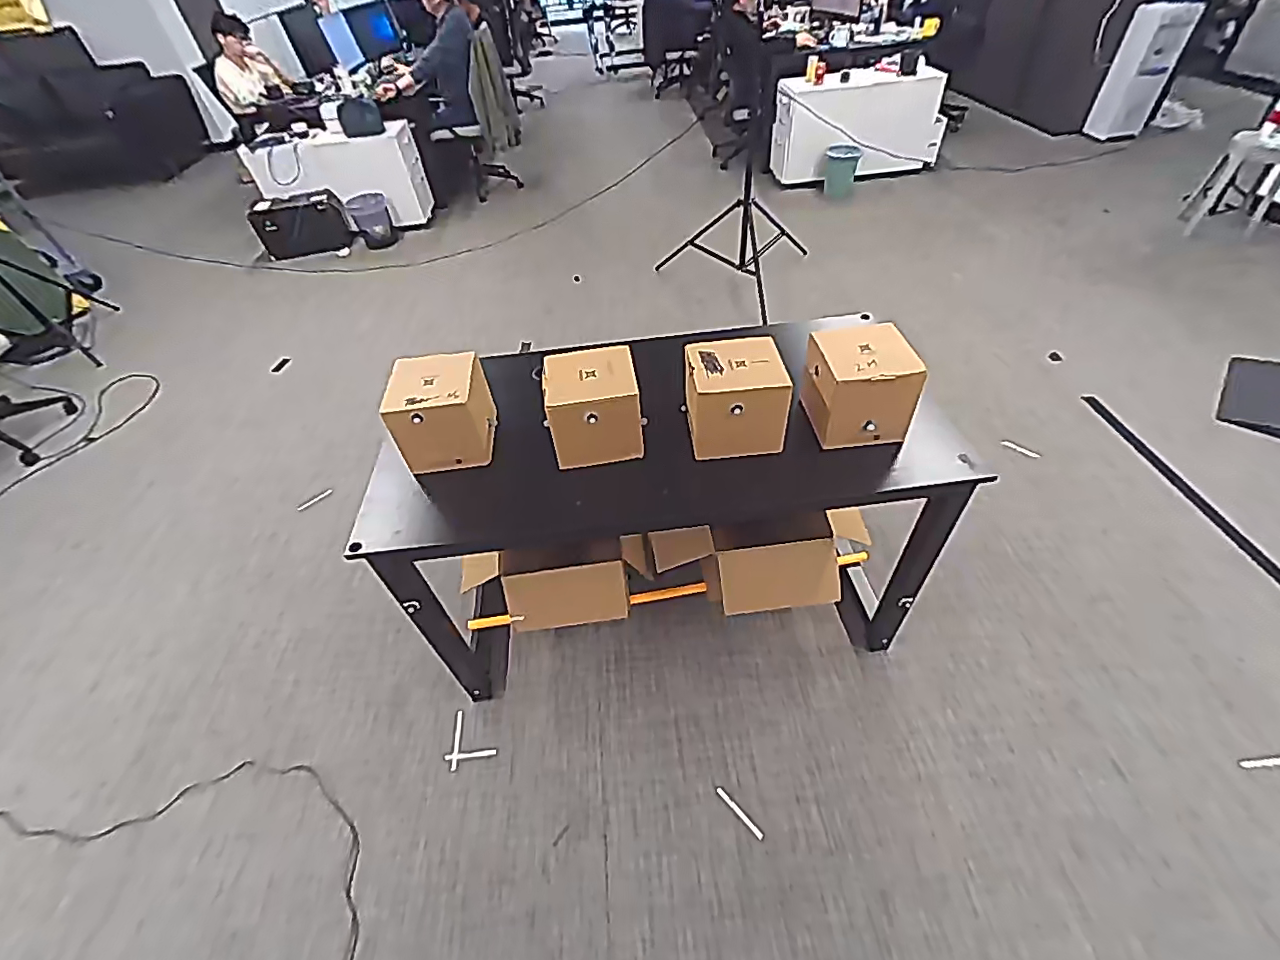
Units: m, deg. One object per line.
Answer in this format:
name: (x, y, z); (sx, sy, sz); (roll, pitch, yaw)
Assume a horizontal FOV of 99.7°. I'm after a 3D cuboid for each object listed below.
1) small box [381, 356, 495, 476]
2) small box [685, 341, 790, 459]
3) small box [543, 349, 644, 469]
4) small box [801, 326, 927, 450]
small box: (-0.403, -0.132, 1.116); (0.168, 0.176, 0.179); (-7, 46, -2)
small box: (0.186, -0.155, 1.076); (0.179, 0.176, 0.168); (-5, 46, 1)
small box: (-0.093, -0.139, 1.094); (0.179, 0.176, 0.168); (-8, 47, -3)
small box: (0.430, -0.182, 1.074); (0.168, 0.176, 0.179); (-6, 46, 1)
